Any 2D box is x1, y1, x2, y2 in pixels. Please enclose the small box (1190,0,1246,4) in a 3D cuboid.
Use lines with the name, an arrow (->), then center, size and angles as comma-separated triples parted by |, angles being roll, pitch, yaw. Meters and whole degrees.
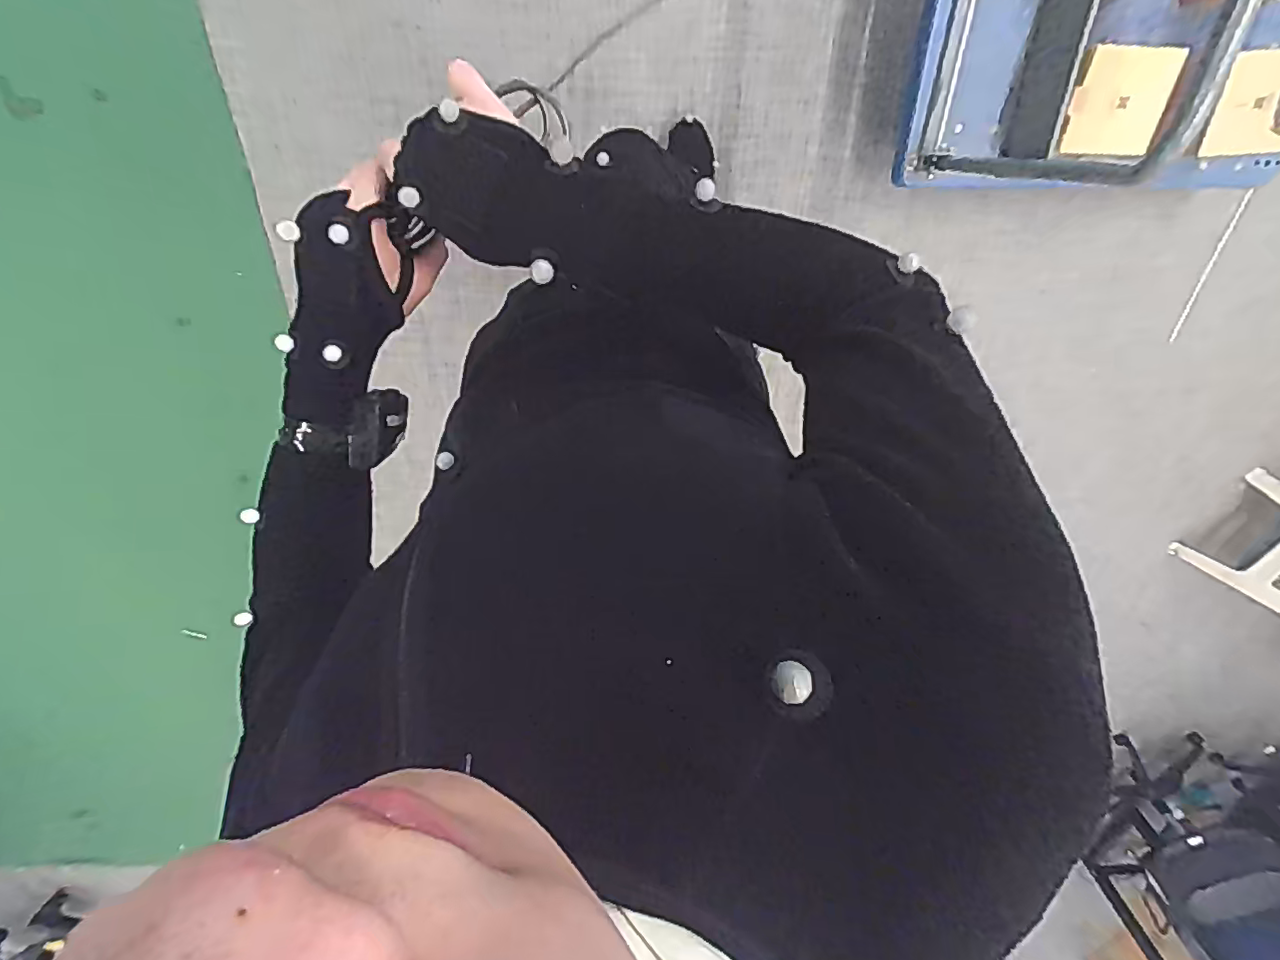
small box -> 1.135, -0.954, 0.937 | 0.179, 0.176, 0.168 | -4, 122, 0

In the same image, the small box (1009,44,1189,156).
small box -> 0.882, -0.736, 1.060 | 0.179, 0.176, 0.168 | 0, 121, -2

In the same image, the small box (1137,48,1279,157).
small box -> 1.152, -0.739, 1.066 | 0.179, 0.176, 0.168 | -3, 120, 1
